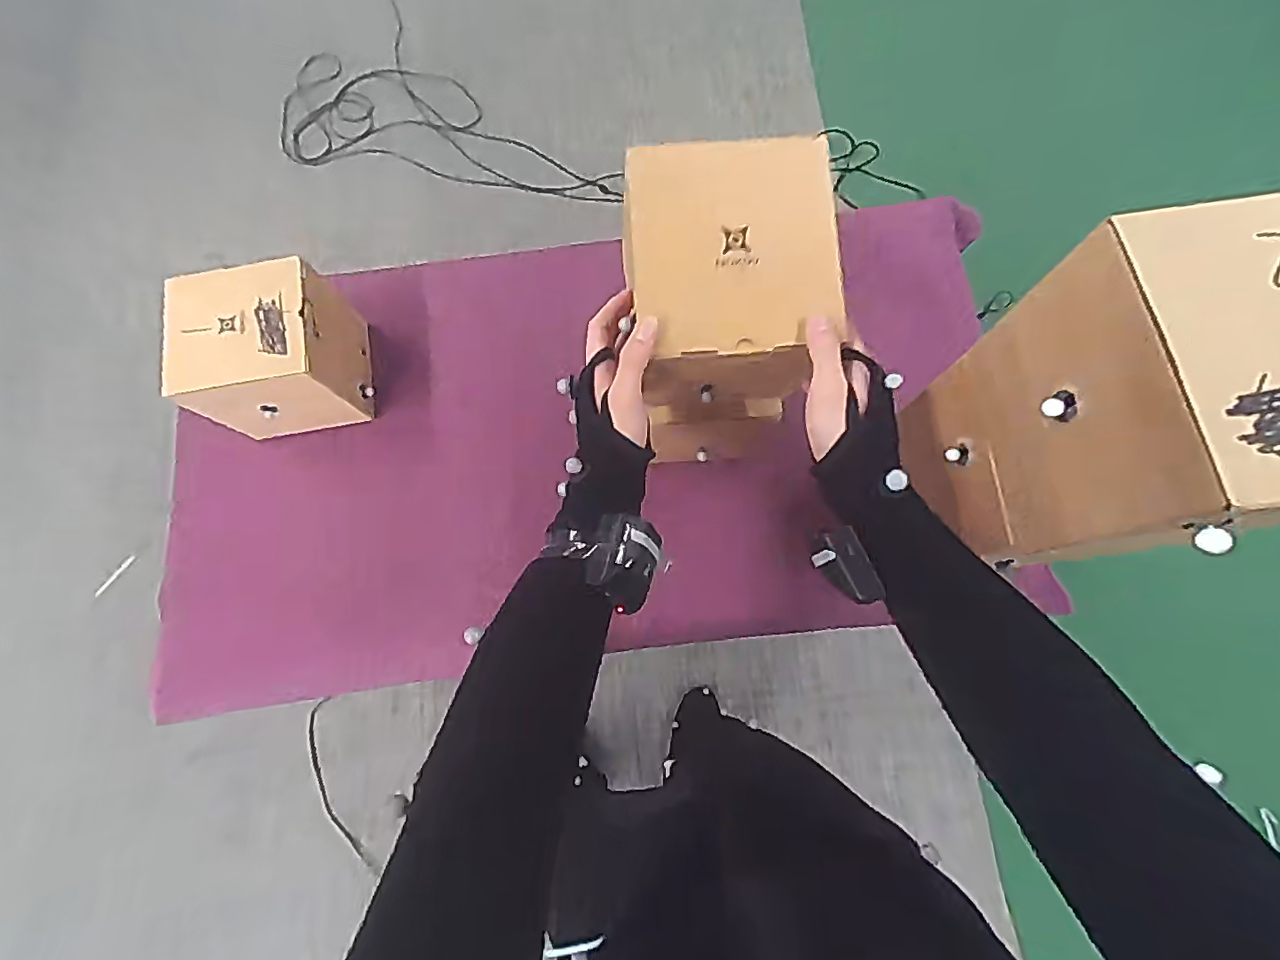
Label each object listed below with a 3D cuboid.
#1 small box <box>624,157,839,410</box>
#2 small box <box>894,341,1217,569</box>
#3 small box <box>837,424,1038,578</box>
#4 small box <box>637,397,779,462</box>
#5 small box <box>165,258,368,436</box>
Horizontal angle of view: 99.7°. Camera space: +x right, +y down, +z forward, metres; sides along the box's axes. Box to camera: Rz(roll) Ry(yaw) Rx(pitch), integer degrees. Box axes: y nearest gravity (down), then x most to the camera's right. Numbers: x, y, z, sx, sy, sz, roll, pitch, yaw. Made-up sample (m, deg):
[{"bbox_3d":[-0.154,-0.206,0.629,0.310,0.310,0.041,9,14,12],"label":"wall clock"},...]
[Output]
[{"bbox_3d":[0.072,-0.176,0.525,0.168,0.176,0.179,-4,85,-3],"label":"small box"},{"bbox_3d":[0.367,-0.013,0.521,0.168,0.176,0.179,-3,76,2],"label":"small box"},{"bbox_3d":[0.370,0.032,0.678,0.179,0.176,0.168,-3,75,1],"label":"small box"},{"bbox_3d":[0.079,-0.132,0.725,0.168,0.176,0.179,-3,76,1],"label":"small box"},{"bbox_3d":[-0.494,-0.172,0.743,0.179,0.176,0.168,-10,76,-1],"label":"small box"}]
